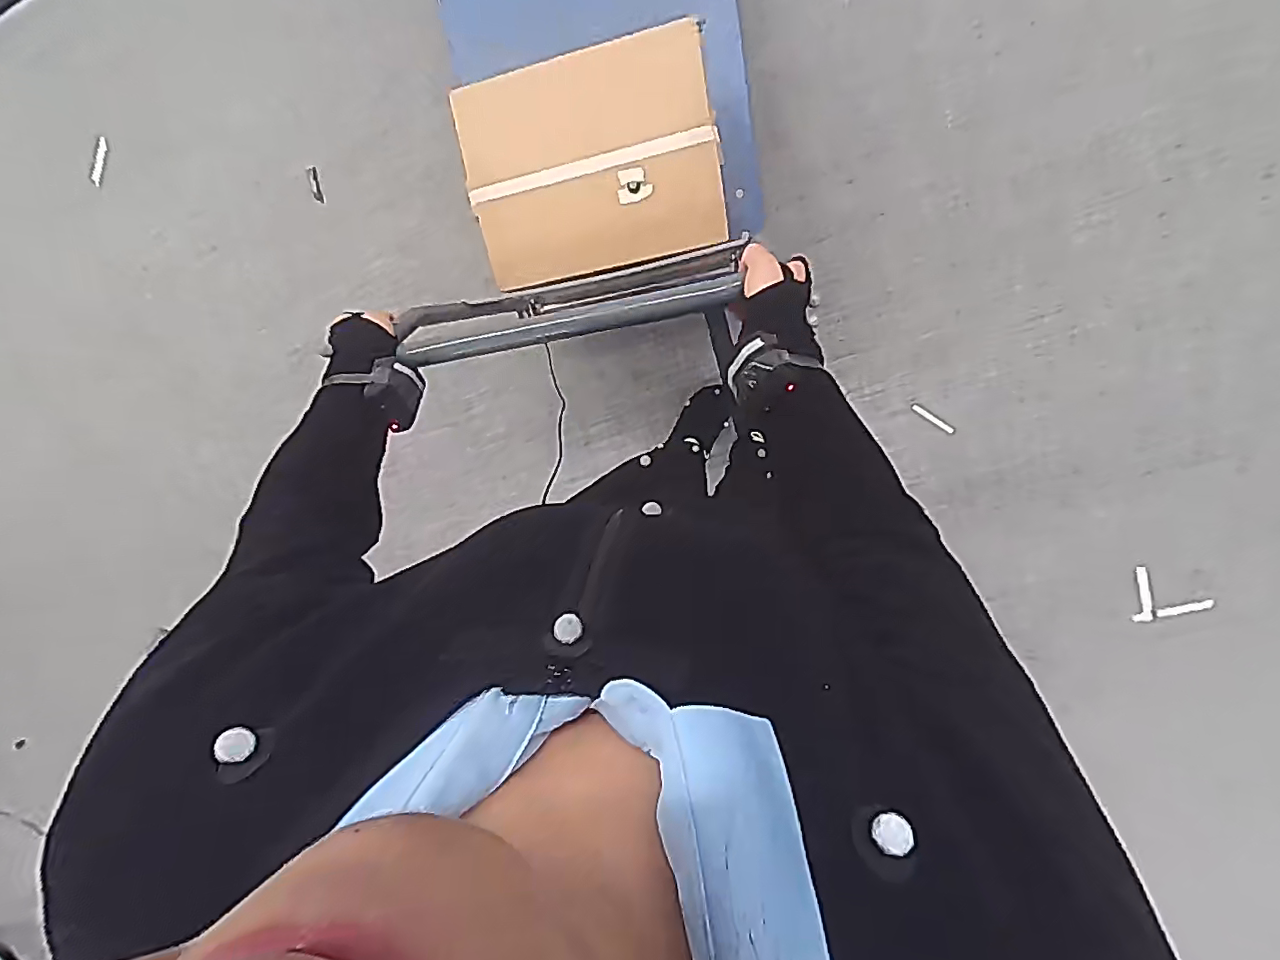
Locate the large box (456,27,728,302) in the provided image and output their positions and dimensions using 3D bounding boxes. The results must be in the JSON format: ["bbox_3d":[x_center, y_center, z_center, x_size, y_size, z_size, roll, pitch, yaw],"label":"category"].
[{"bbox_3d":[-0.060,-0.537,1.014,0.408,0.320,0.320,-9,106,10],"label":"large box"}]
